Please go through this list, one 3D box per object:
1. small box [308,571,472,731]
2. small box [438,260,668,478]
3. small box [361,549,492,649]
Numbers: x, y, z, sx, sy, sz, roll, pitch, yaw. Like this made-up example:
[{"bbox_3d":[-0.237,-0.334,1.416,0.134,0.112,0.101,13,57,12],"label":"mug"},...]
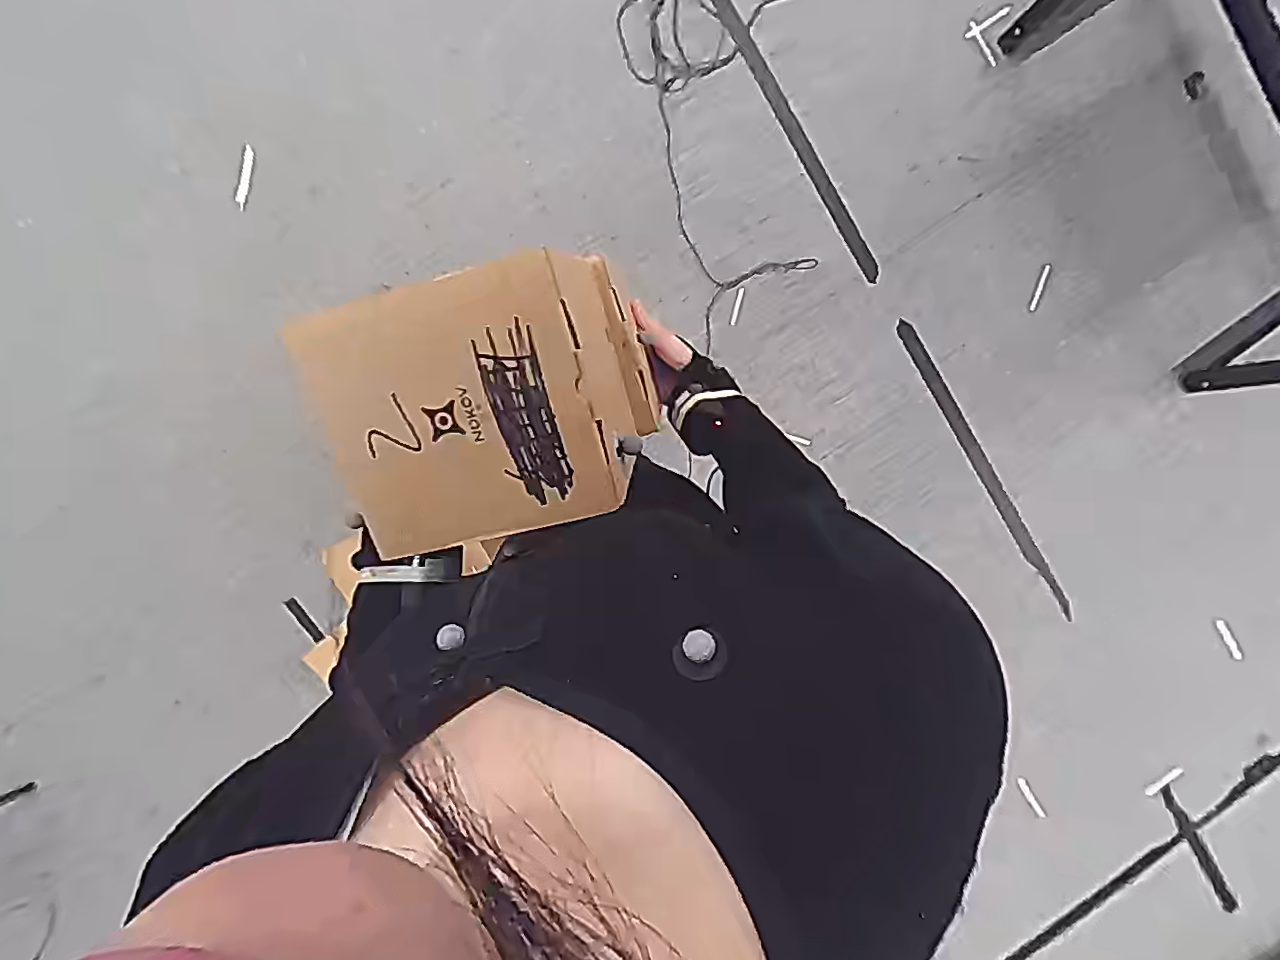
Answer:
[{"bbox_3d":[-0.414,0.281,0.937,0.179,0.176,0.168,-41,95,-2],"label":"small box"},{"bbox_3d":[-0.076,-0.121,0.573,0.179,0.176,0.168,-15,106,7],"label":"small box"},{"bbox_3d":[-0.420,0.261,1.099,0.168,0.176,0.179,-26,94,-4],"label":"small box"}]
